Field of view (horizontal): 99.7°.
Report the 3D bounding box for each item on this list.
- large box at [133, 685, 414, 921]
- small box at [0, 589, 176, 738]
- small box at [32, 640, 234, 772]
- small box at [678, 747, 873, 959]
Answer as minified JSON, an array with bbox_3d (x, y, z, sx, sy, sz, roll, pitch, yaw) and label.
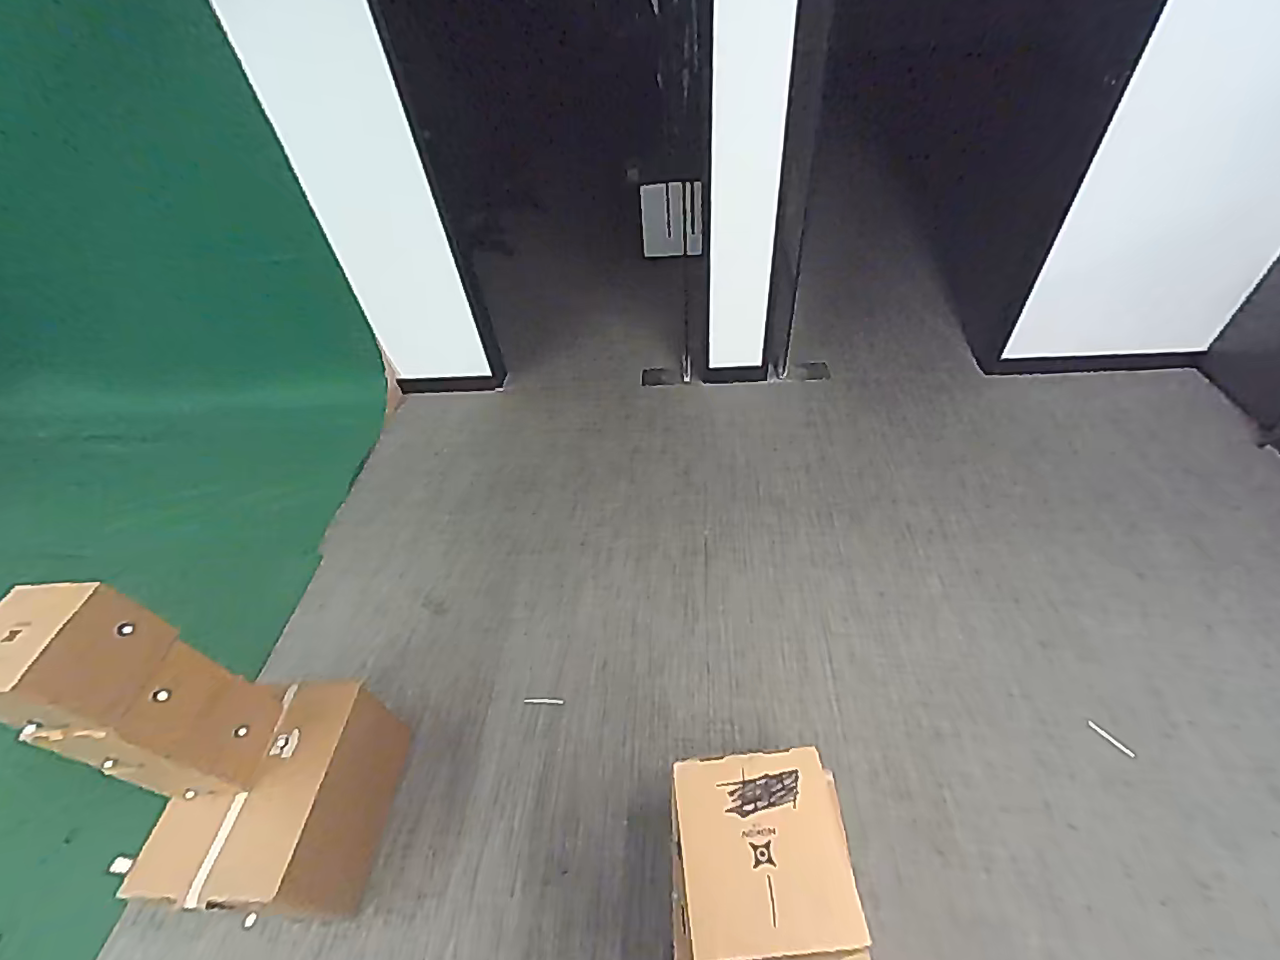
[{"bbox_3d":[-0.773,0.730,1.227,0.320,0.320,0.408,-3,45,5],"label":"large box"},{"bbox_3d":[-0.913,0.294,0.869,0.168,0.176,0.179,-4,47,9],"label":"small box"},{"bbox_3d":[-0.895,0.411,0.982,0.168,0.176,0.179,-5,47,7],"label":"small box"},{"bbox_3d":[0.136,0.428,0.610,0.168,0.176,0.179,-8,46,2],"label":"small box"}]
